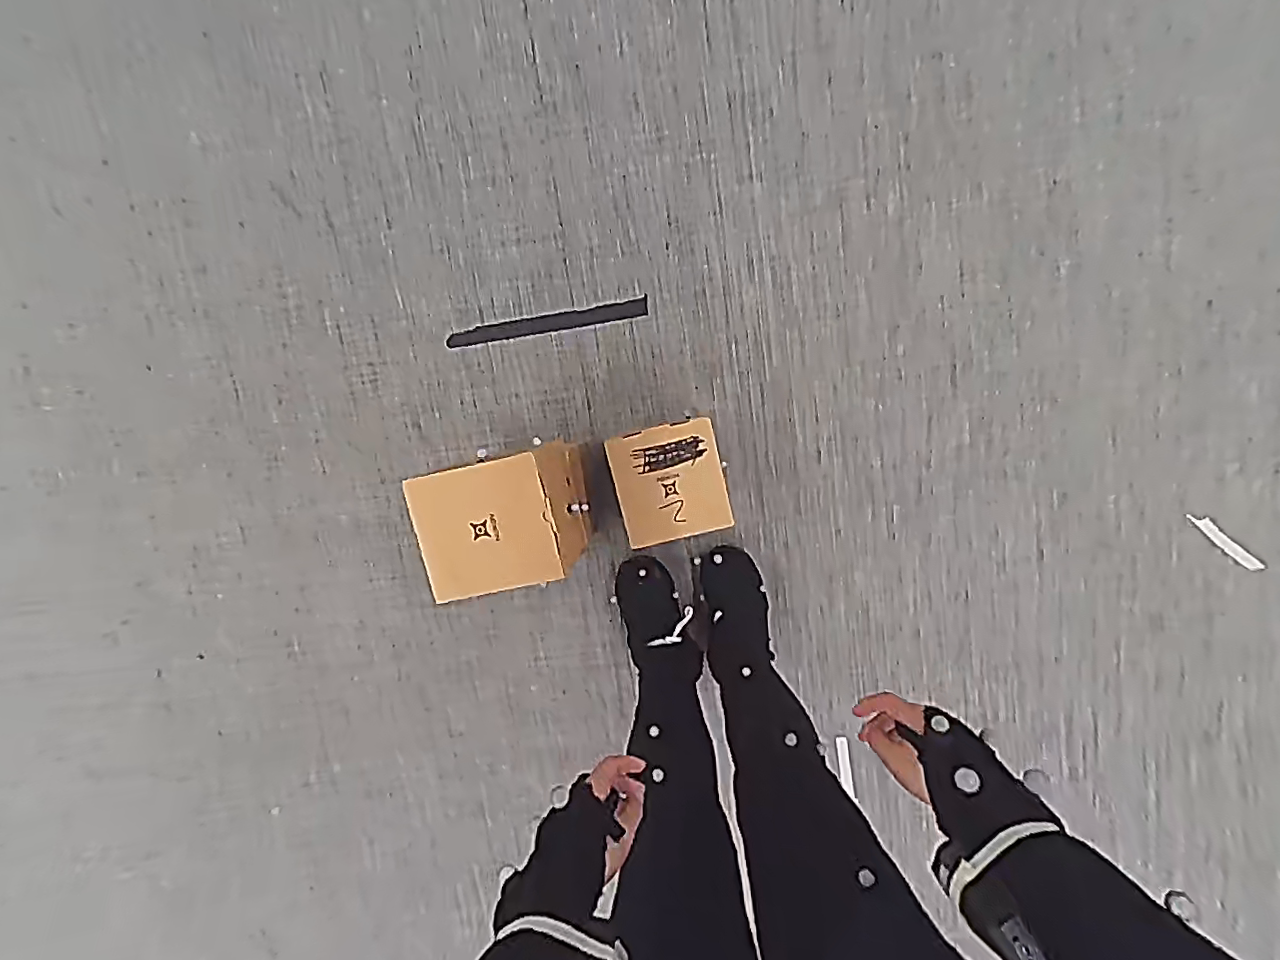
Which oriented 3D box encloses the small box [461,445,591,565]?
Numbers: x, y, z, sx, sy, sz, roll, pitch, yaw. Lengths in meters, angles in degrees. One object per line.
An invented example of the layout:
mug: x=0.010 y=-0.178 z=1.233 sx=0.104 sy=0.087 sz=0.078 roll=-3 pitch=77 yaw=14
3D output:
small box: x=-0.181 y=0.040 z=0.912 sx=0.168 sy=0.176 sz=0.179 roll=-5 pitch=97 yaw=4

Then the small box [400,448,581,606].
small box: x=-0.193 y=0.055 z=0.750 sx=0.179 sy=0.176 sz=0.168 roll=-13 pitch=97 yaw=4
